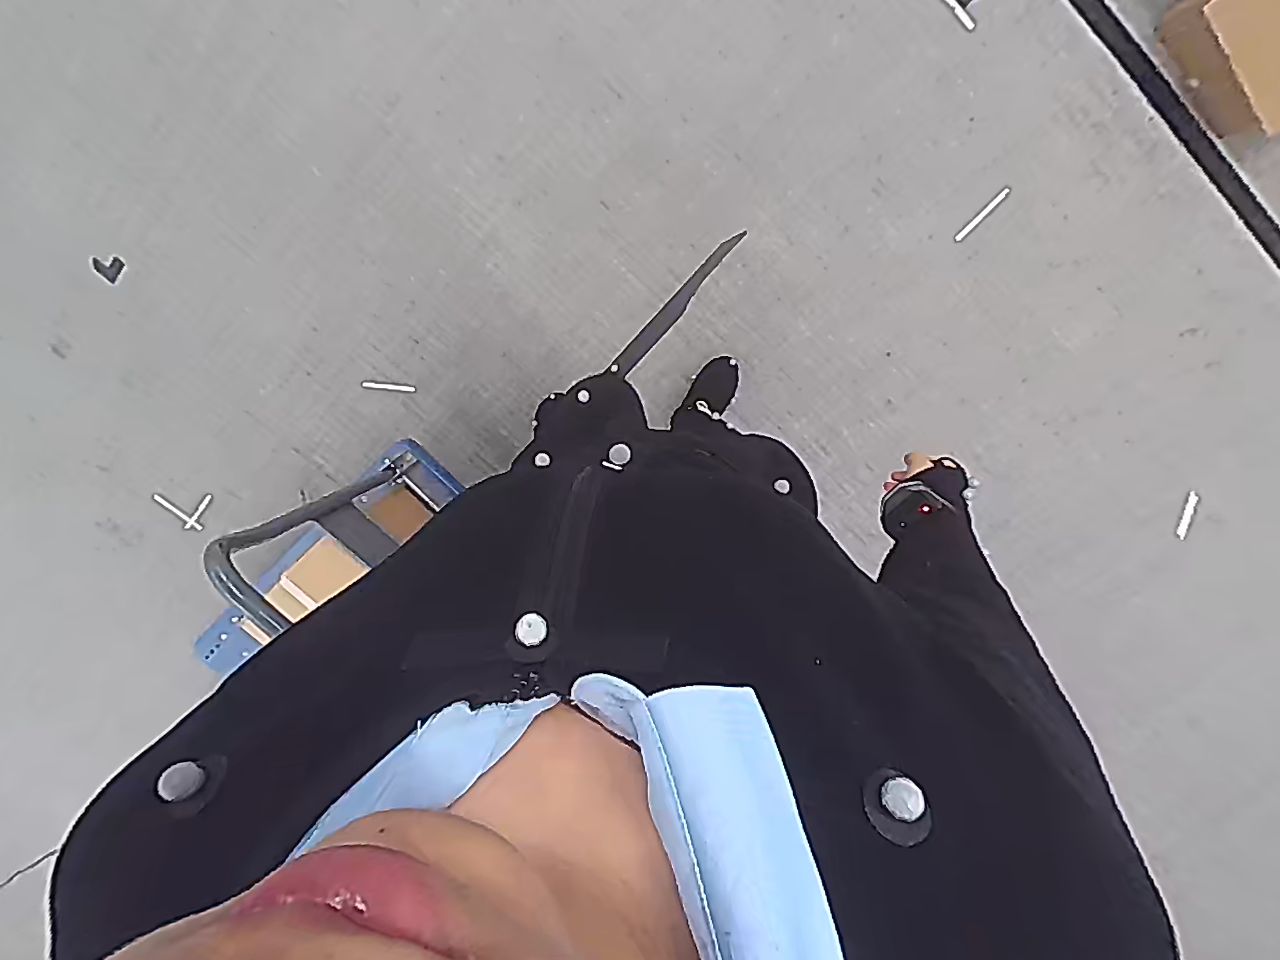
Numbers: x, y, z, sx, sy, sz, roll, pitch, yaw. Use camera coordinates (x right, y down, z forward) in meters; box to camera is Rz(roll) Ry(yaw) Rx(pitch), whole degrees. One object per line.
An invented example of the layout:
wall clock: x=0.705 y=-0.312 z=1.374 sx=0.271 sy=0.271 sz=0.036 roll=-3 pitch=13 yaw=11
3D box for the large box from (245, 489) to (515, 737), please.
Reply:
large box: x=-0.567 y=0.292 z=1.263 sx=0.320 sy=0.320 sz=0.408 roll=-41 pitch=100 yaw=10
